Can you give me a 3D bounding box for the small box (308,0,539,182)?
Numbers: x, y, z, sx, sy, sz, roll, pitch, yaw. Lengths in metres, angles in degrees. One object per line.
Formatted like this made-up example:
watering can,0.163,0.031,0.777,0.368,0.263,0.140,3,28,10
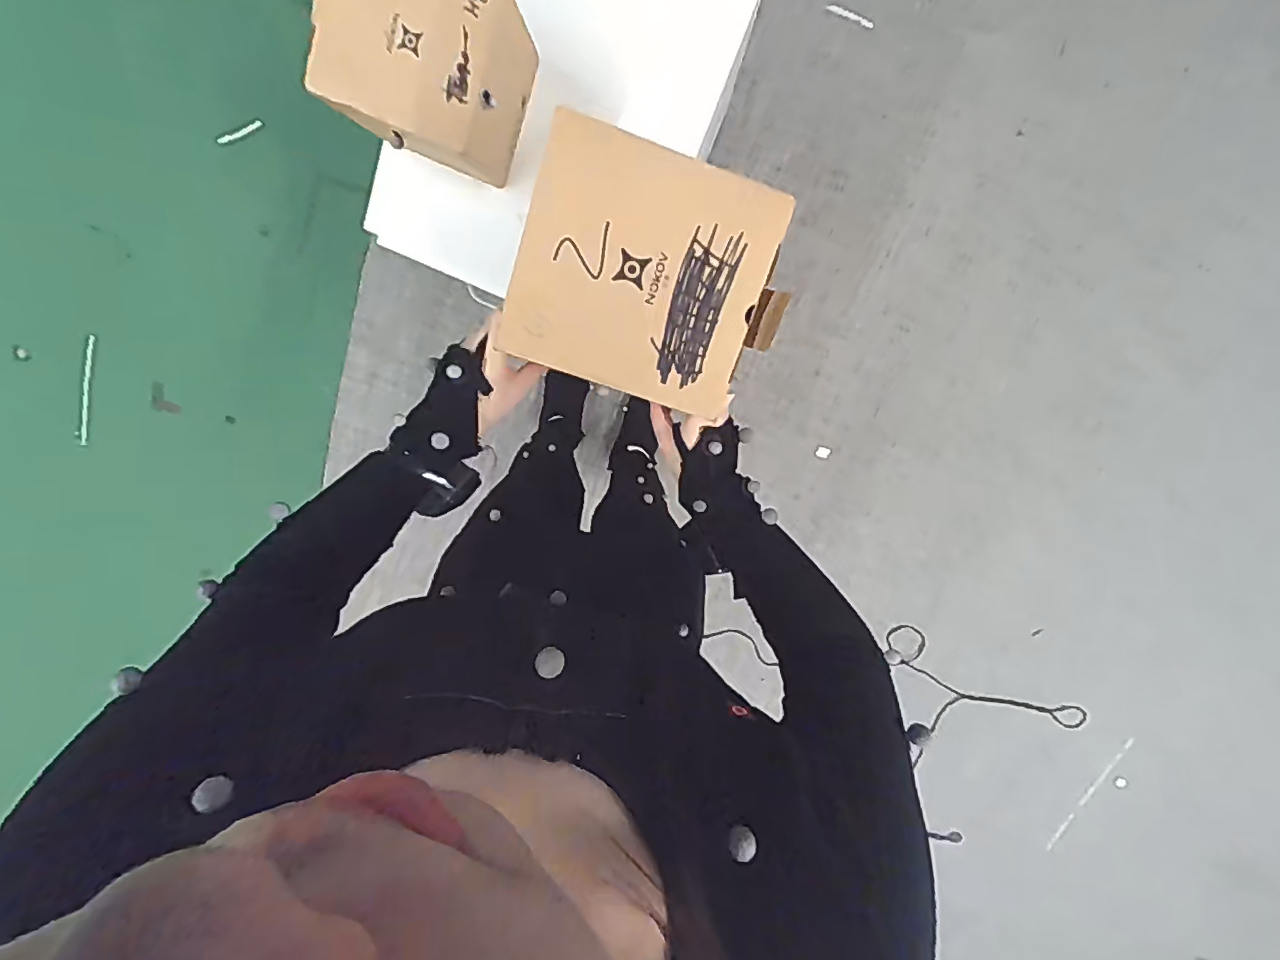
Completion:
small box,-0.236,-0.475,0.627,0.179,0.176,0.168,21,106,-5
